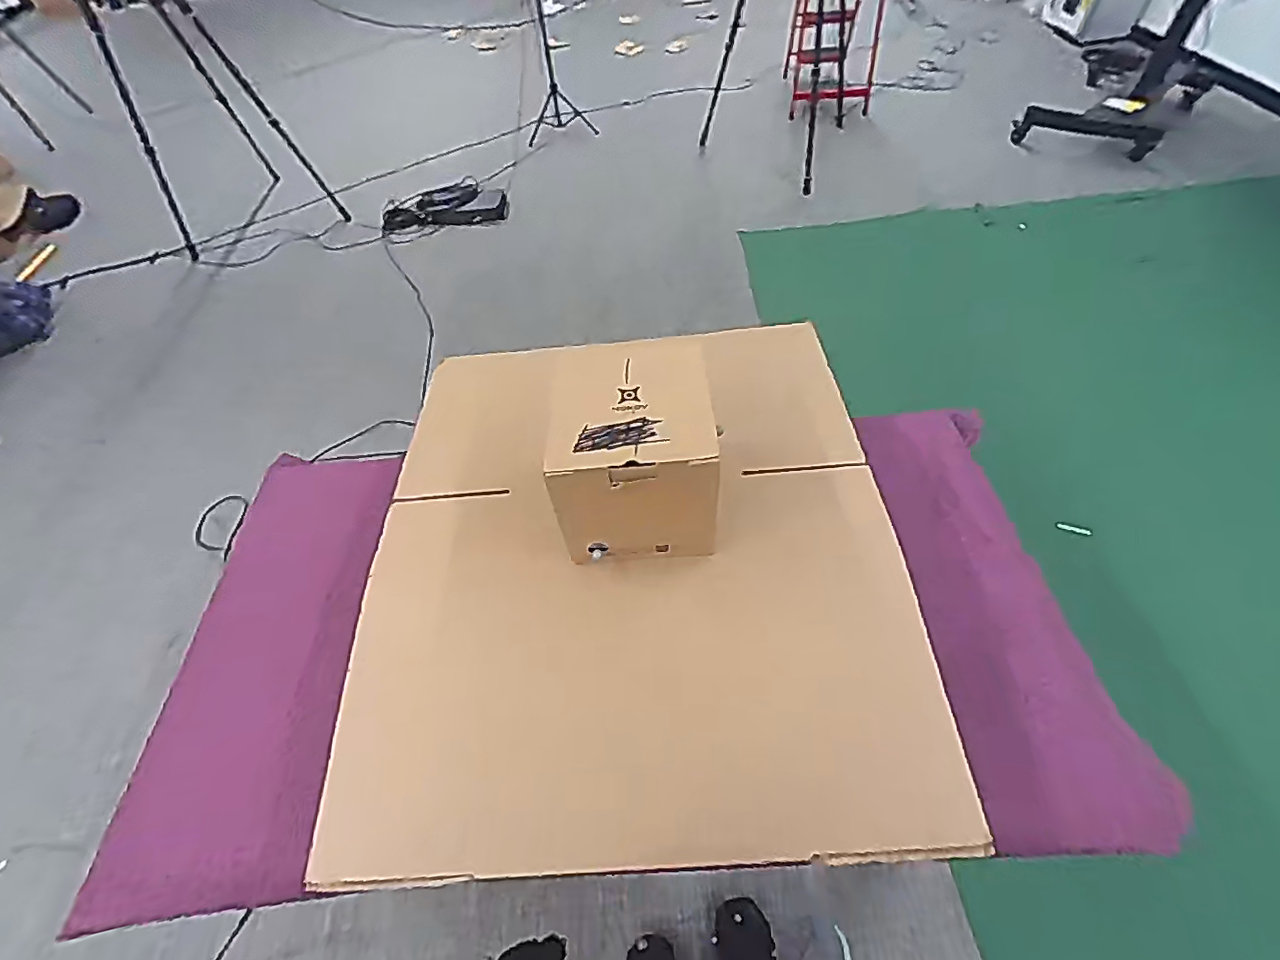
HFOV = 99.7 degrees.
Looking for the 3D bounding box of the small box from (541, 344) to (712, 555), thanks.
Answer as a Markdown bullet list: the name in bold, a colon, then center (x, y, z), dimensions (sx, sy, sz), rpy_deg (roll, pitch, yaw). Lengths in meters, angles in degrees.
- **small box**: center (-0.009, -0.027, 0.613), dimensions (0.168, 0.176, 0.179), rpy_deg (-5, 51, 2)
